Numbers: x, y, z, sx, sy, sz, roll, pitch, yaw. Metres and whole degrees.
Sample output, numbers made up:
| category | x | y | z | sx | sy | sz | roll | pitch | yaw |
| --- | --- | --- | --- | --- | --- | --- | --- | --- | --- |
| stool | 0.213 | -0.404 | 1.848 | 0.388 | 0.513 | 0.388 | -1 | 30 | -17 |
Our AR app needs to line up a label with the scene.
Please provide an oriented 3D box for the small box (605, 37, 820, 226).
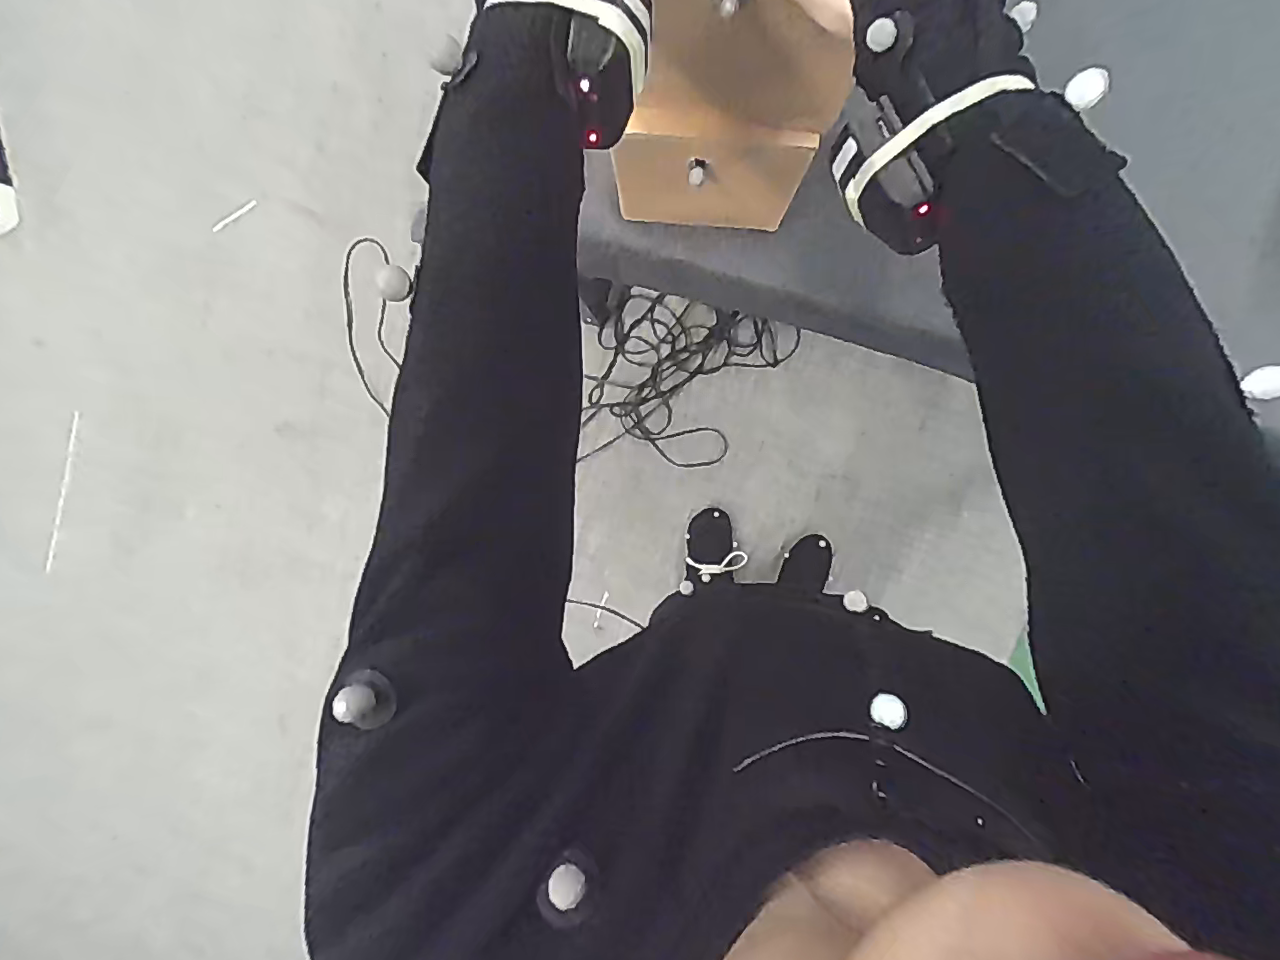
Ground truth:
| category | x | y | z | sx | sy | sz | roll | pitch | yaw |
| --- | --- | --- | --- | --- | --- | --- | --- | --- | --- |
| small box | 0.071 | -0.361 | 0.515 | 0.179 | 0.176 | 0.168 | 7 | 94 | 4 |

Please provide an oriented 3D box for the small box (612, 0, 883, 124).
| category | x | y | z | sx | sy | sz | roll | pitch | yaw |
| --- | --- | --- | --- | --- | --- | --- | --- | --- | --- |
| small box | 0.077 | -0.370 | 0.353 | 0.179 | 0.176 | 0.168 | 11 | 95 | 2 |
